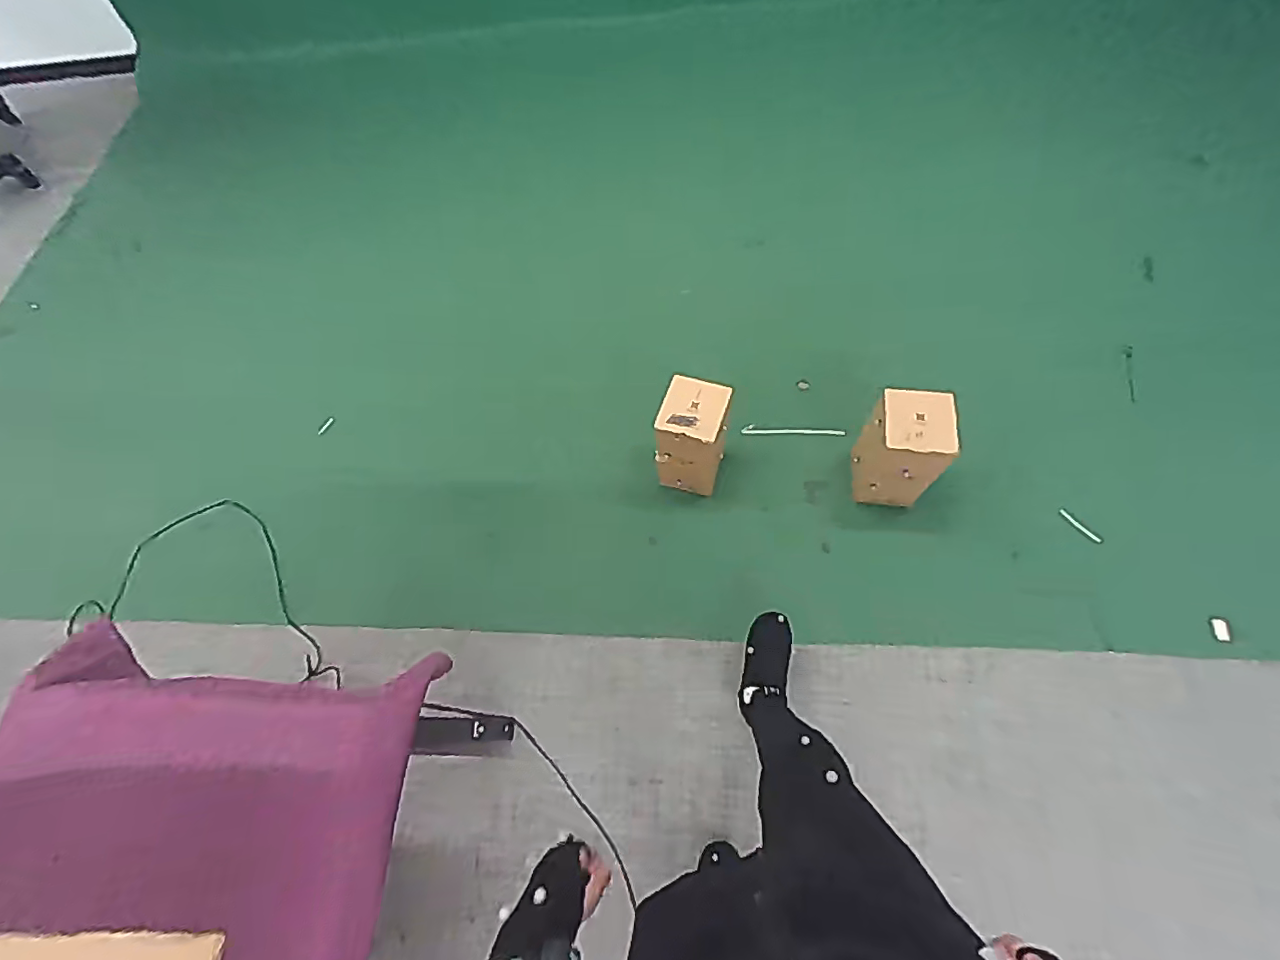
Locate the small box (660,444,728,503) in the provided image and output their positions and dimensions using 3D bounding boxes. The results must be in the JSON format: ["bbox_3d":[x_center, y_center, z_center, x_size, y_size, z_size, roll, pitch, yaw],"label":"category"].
[{"bbox_3d":[0.165,-0.055,1.630,0.168,0.176,0.179,14,68,13],"label":"small box"}]

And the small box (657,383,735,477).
[{"bbox_3d":[0.157,-0.131,1.485,0.168,0.176,0.179,17,67,14],"label":"small box"}]

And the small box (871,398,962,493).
[{"bbox_3d":[0.704,-0.087,1.397,0.168,0.176,0.179,6,65,10],"label":"small box"}]
